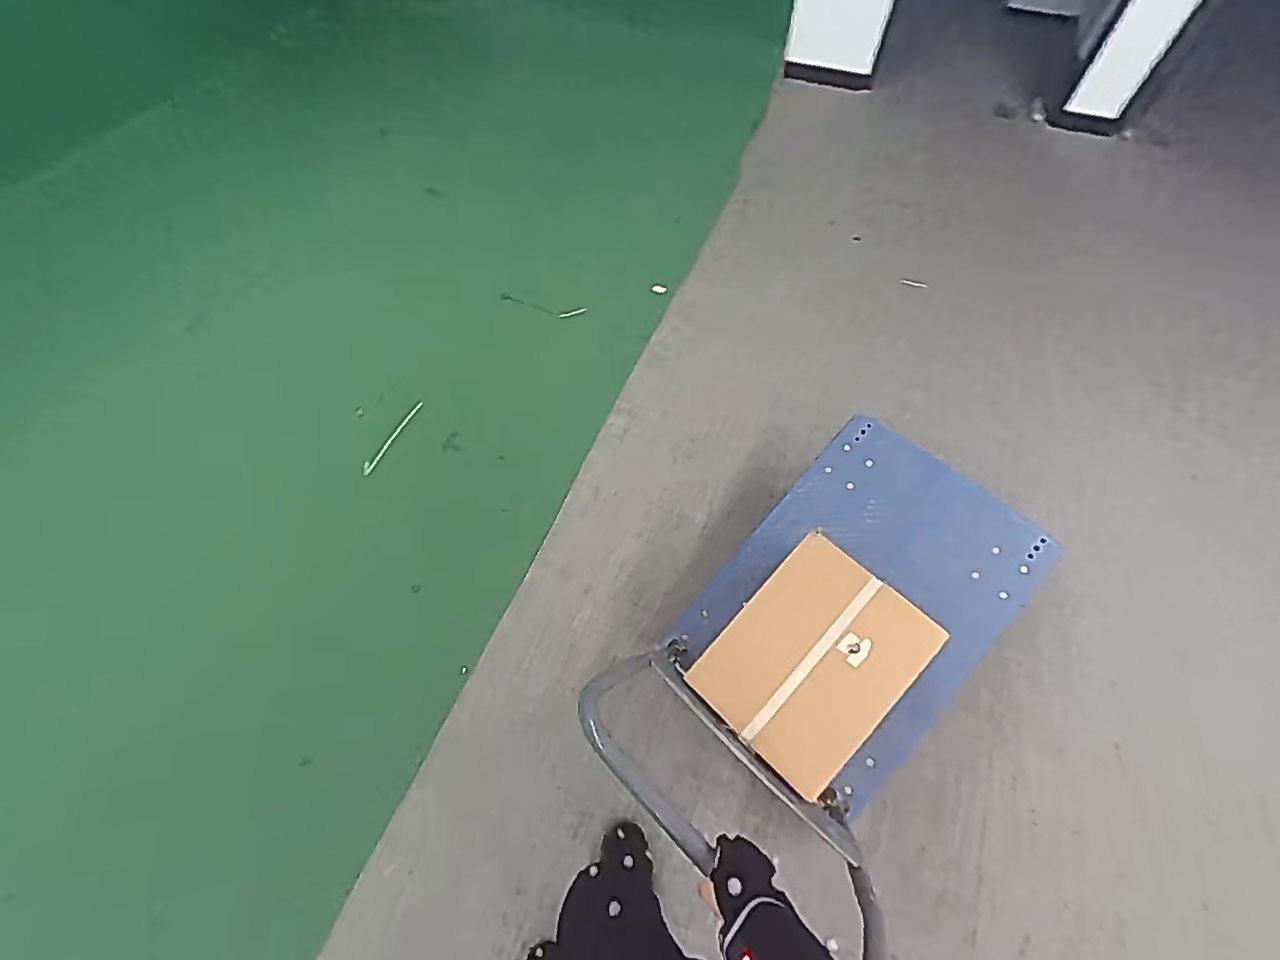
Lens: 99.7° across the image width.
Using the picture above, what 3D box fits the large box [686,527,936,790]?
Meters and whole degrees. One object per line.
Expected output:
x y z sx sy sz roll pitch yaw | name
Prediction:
0.357 0.381 1.197 0.320 0.320 0.408 41 84 20 | large box
